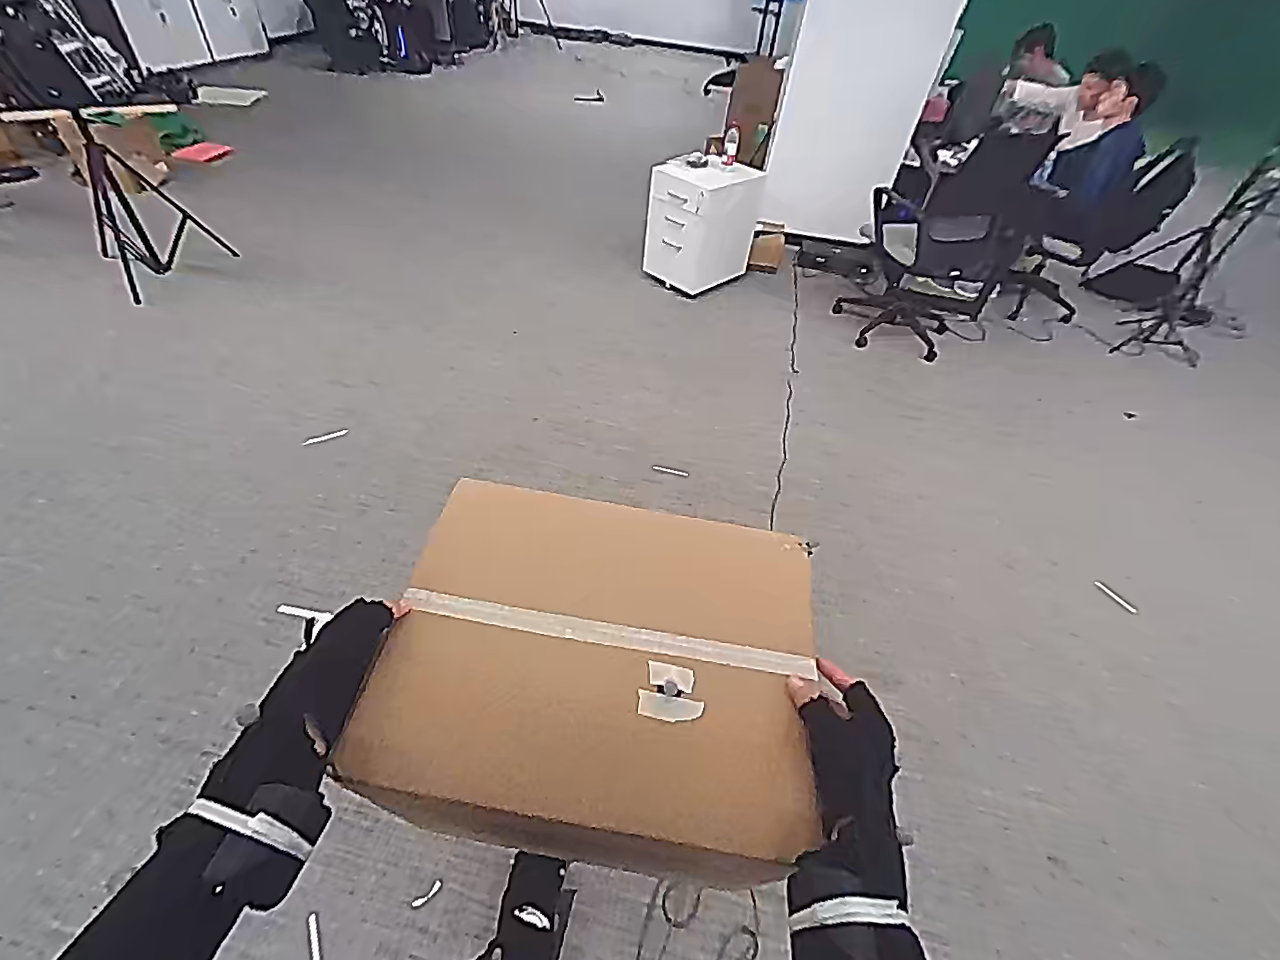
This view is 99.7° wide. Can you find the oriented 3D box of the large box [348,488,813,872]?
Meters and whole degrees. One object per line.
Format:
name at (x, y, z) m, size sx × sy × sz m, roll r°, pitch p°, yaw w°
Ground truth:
large box at (-0.046, 0.248, 0.657) m, size 0.408 × 0.320 × 0.320 m, roll 10°, pitch 51°, yaw 2°
